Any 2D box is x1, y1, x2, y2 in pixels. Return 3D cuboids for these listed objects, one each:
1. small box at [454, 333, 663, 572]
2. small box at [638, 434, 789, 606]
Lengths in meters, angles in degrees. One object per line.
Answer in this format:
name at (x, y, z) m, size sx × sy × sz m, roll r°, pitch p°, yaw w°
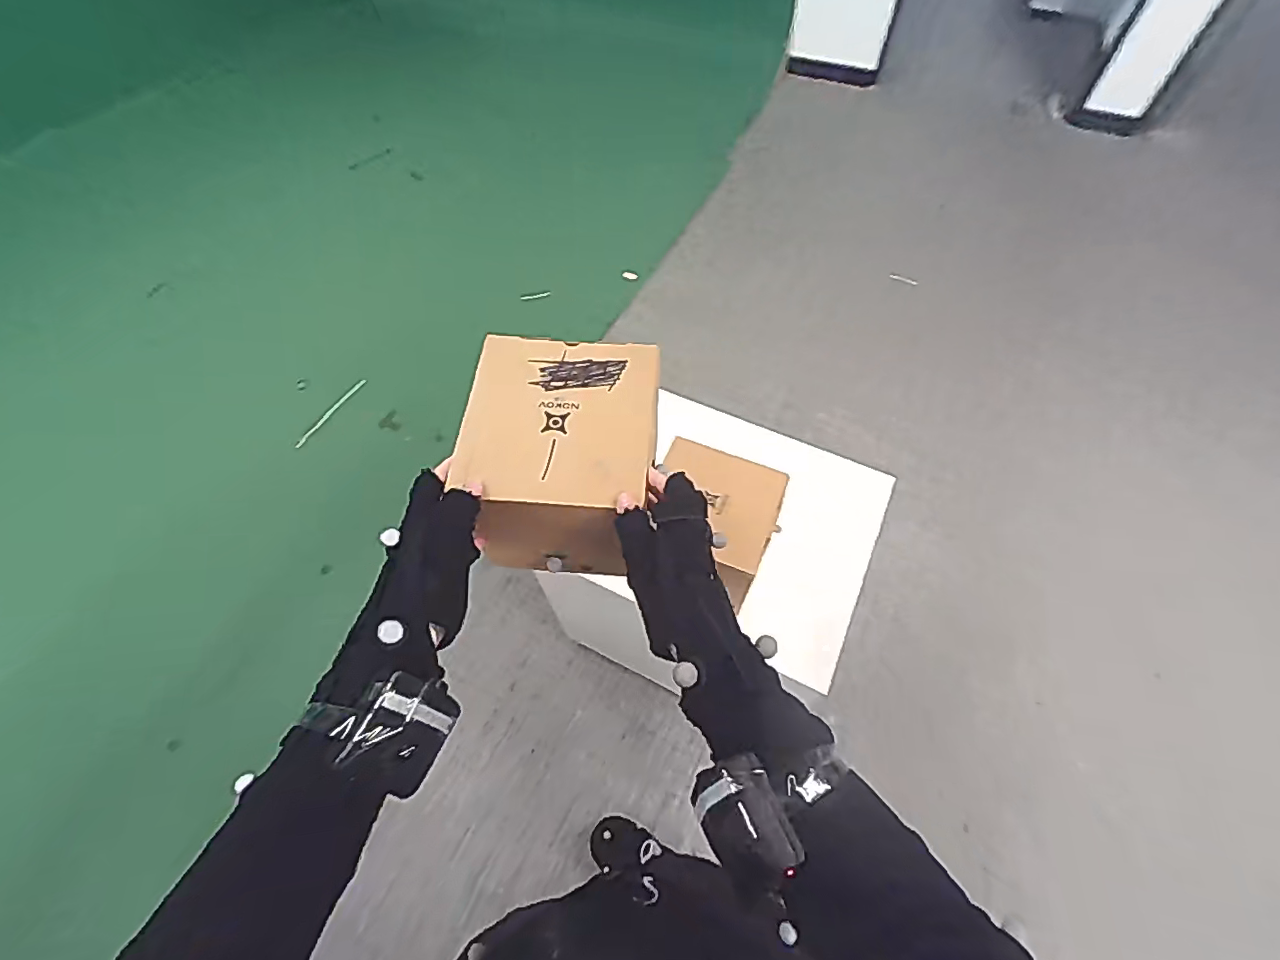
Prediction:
small box at (-0.063, -0.022, 0.540) m, size 0.168 × 0.176 × 0.179 m, roll 1°, pitch 61°, yaw 3°
small box at (0.097, 0.065, 0.790) m, size 0.179 × 0.176 × 0.168 m, roll 19°, pitch 61°, yaw 14°
